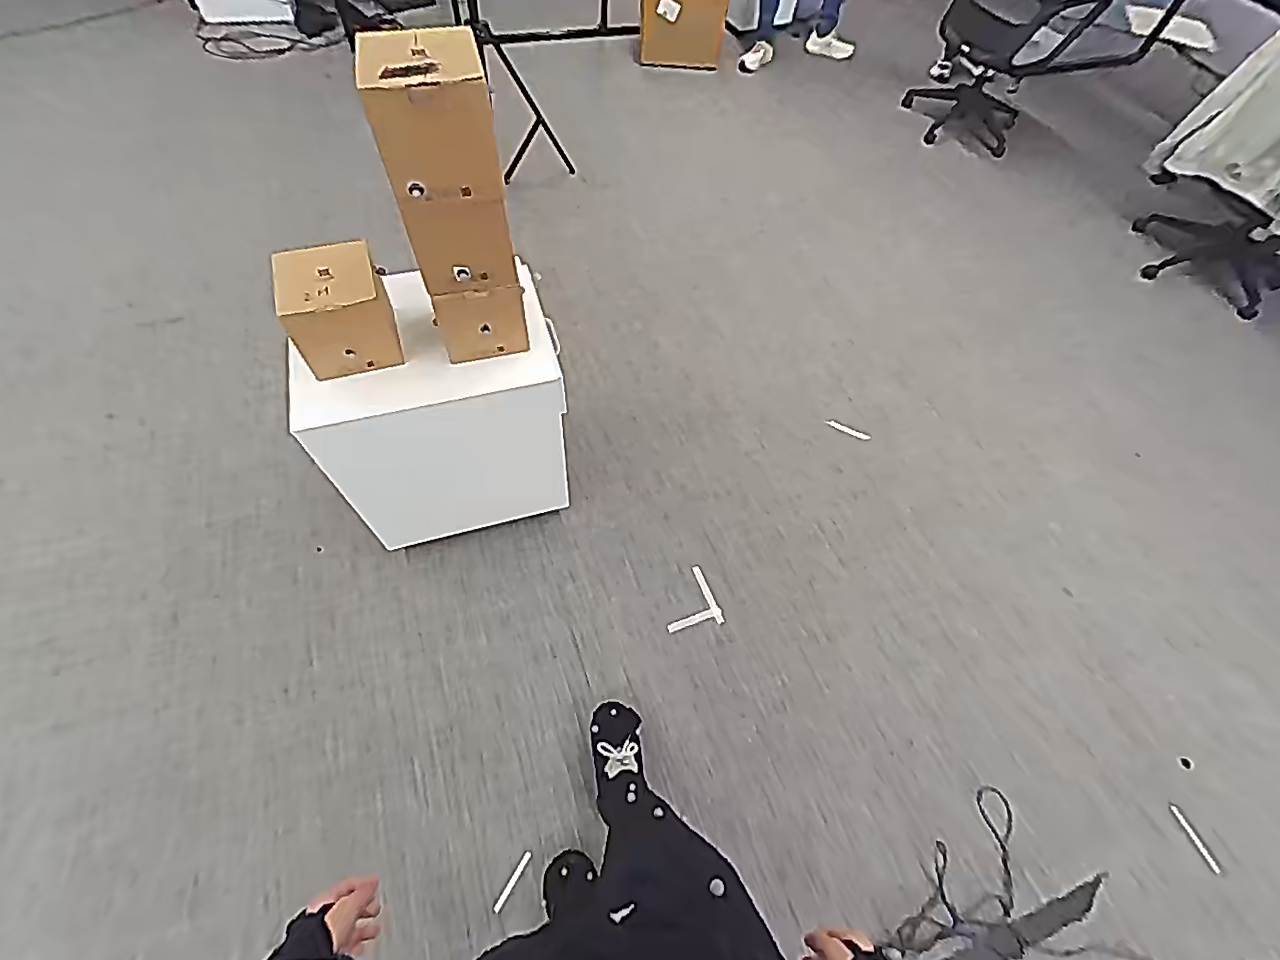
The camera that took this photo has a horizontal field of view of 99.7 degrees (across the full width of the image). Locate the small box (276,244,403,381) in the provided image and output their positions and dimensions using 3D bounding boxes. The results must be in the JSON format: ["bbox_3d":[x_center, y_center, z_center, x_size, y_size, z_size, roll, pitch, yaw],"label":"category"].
[{"bbox_3d":[-0.575,-0.322,1.046,0.168,0.176,0.179,-16,62,-14],"label":"small box"}]

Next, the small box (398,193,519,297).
[{"bbox_3d":[-0.320,-0.455,0.957,0.168,0.176,0.179,-14,62,-11],"label":"small box"}]

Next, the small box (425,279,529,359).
[{"bbox_3d":[-0.328,-0.363,1.092,0.168,0.176,0.179,-14,62,-11],"label":"small box"}]

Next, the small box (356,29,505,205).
[{"bbox_3d":[-0.308,-0.537,0.815,0.168,0.176,0.179,-12,59,-10],"label":"small box"}]
